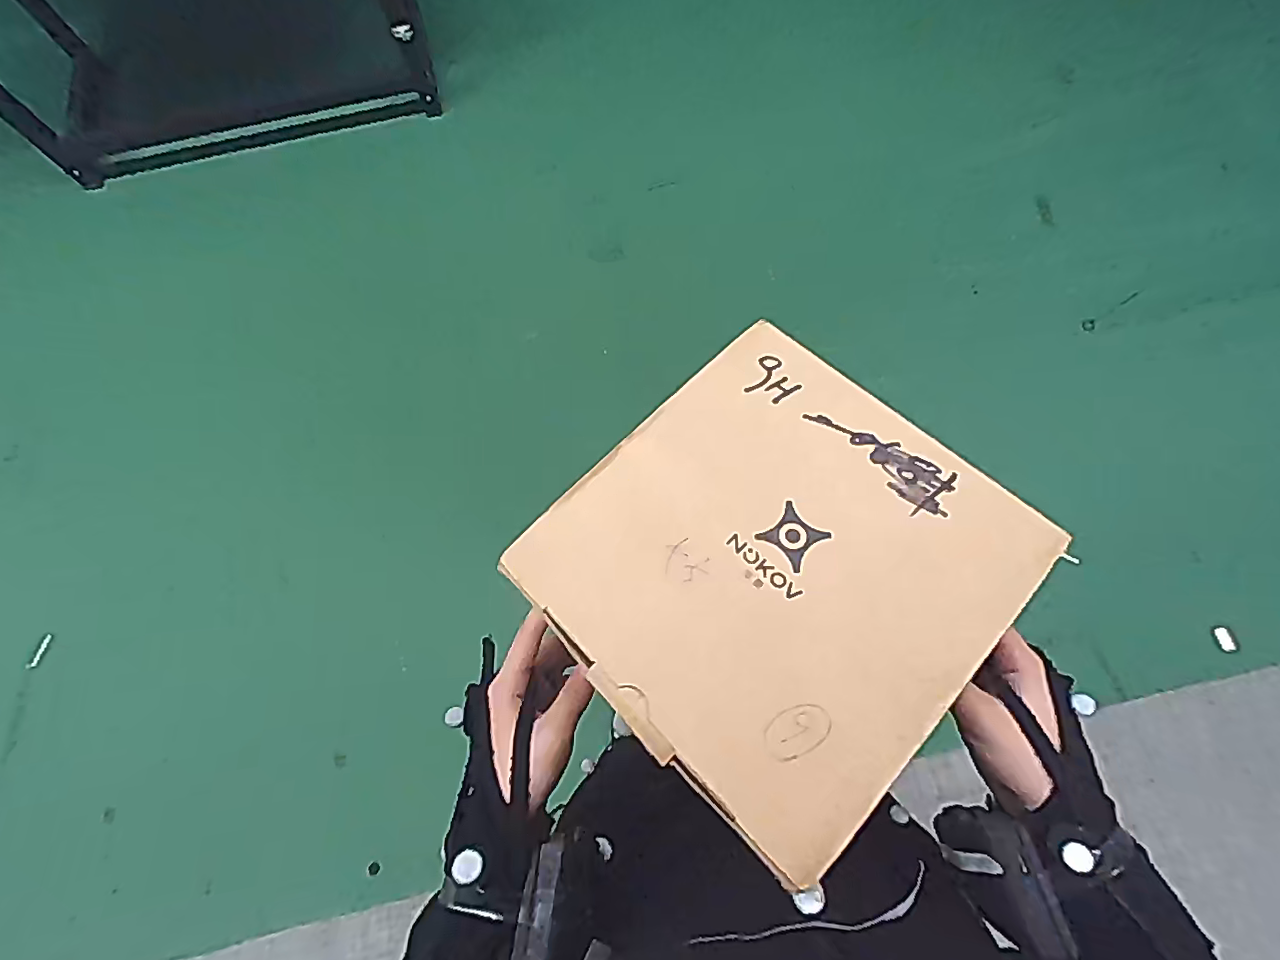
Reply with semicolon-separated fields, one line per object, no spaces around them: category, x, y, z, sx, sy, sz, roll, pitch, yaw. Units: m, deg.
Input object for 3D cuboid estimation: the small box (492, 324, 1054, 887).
small box;0.058;0.061;0.298;0.179;0.176;0.168;-43;71;-13
